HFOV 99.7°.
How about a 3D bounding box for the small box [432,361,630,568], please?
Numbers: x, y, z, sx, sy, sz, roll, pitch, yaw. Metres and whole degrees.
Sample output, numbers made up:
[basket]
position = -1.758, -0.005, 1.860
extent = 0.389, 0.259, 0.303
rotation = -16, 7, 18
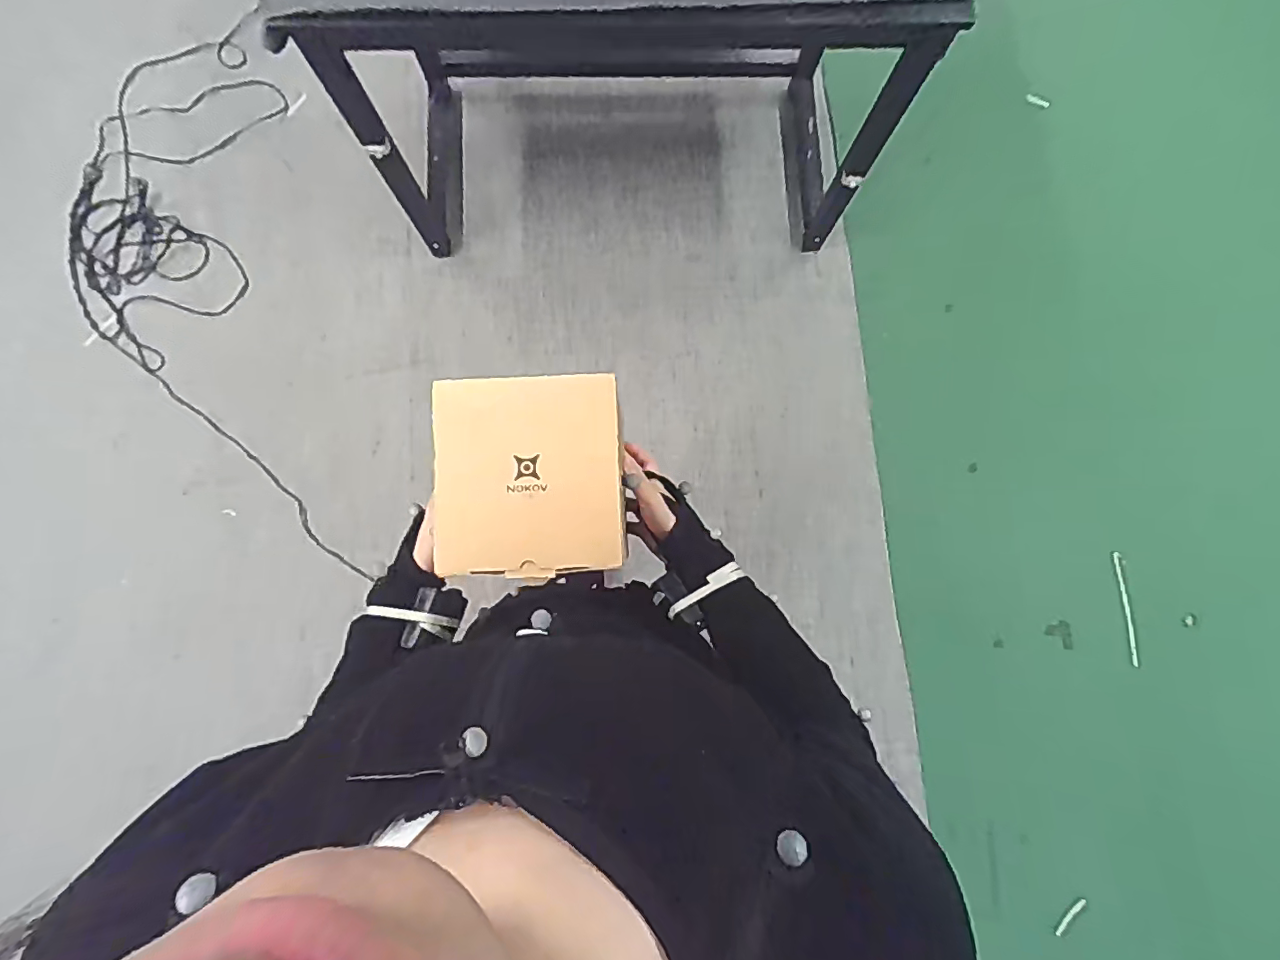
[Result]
[small box]
position = -0.097, -0.008, 0.540
extent = 0.168, 0.176, 0.179
rotation = -2, 86, -2
